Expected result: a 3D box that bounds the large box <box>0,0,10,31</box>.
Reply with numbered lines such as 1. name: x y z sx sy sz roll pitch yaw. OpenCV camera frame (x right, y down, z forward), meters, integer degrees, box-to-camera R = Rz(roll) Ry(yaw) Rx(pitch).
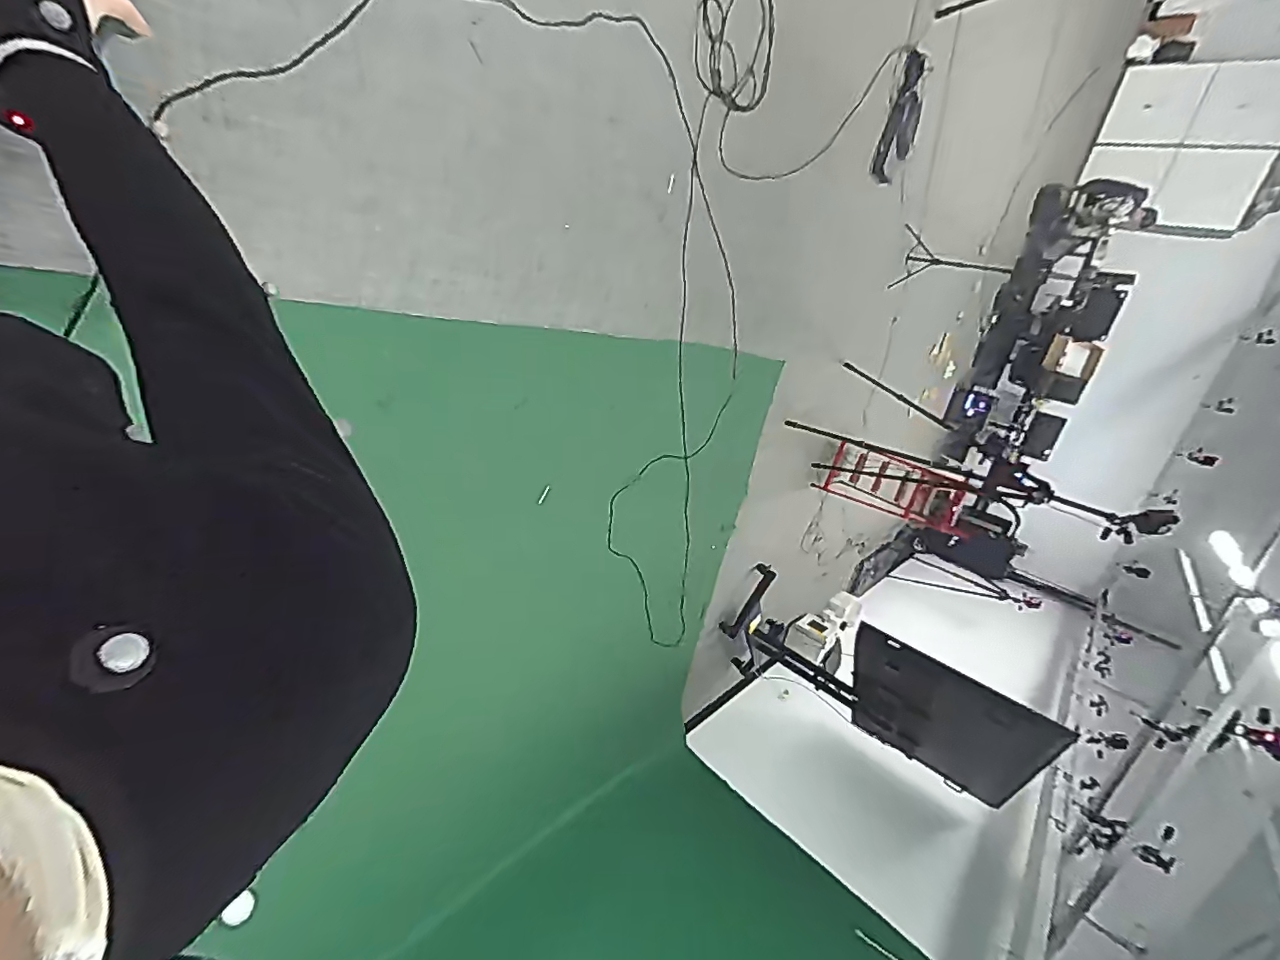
1. large box: -0.919 -0.793 0.560 0.320 0.320 0.408 -9 117 -49
